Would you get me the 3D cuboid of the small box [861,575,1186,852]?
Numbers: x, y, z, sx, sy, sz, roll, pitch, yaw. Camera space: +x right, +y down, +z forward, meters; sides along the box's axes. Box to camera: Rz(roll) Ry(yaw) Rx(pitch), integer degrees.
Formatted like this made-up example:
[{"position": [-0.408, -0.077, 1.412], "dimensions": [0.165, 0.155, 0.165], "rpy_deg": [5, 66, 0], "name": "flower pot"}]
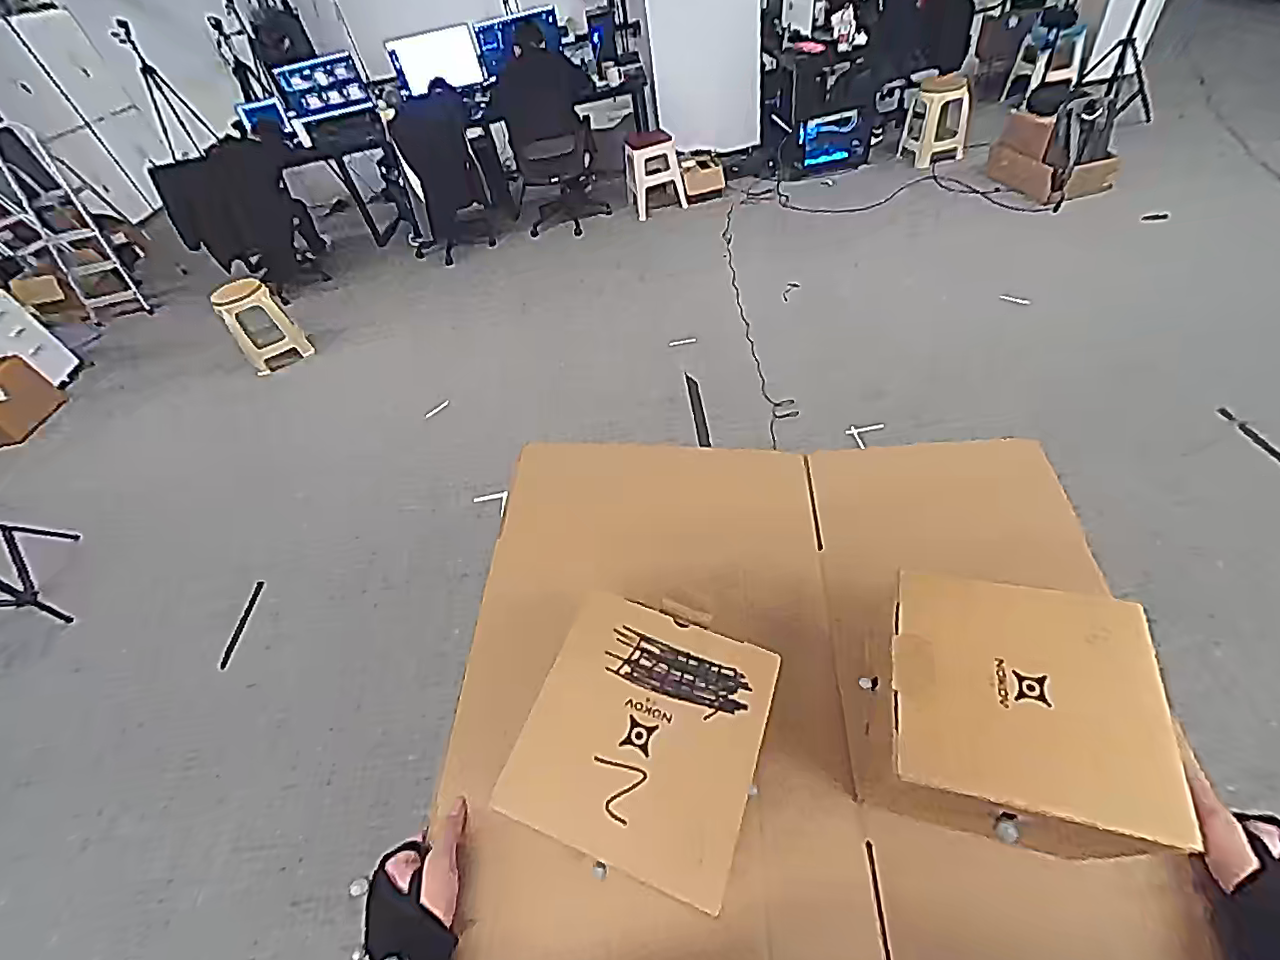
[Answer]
[{"position": [0.302, 0.204, 0.473], "dimensions": [0.179, 0.176, 0.168], "rpy_deg": [6, 56, 18], "name": "small box"}]
